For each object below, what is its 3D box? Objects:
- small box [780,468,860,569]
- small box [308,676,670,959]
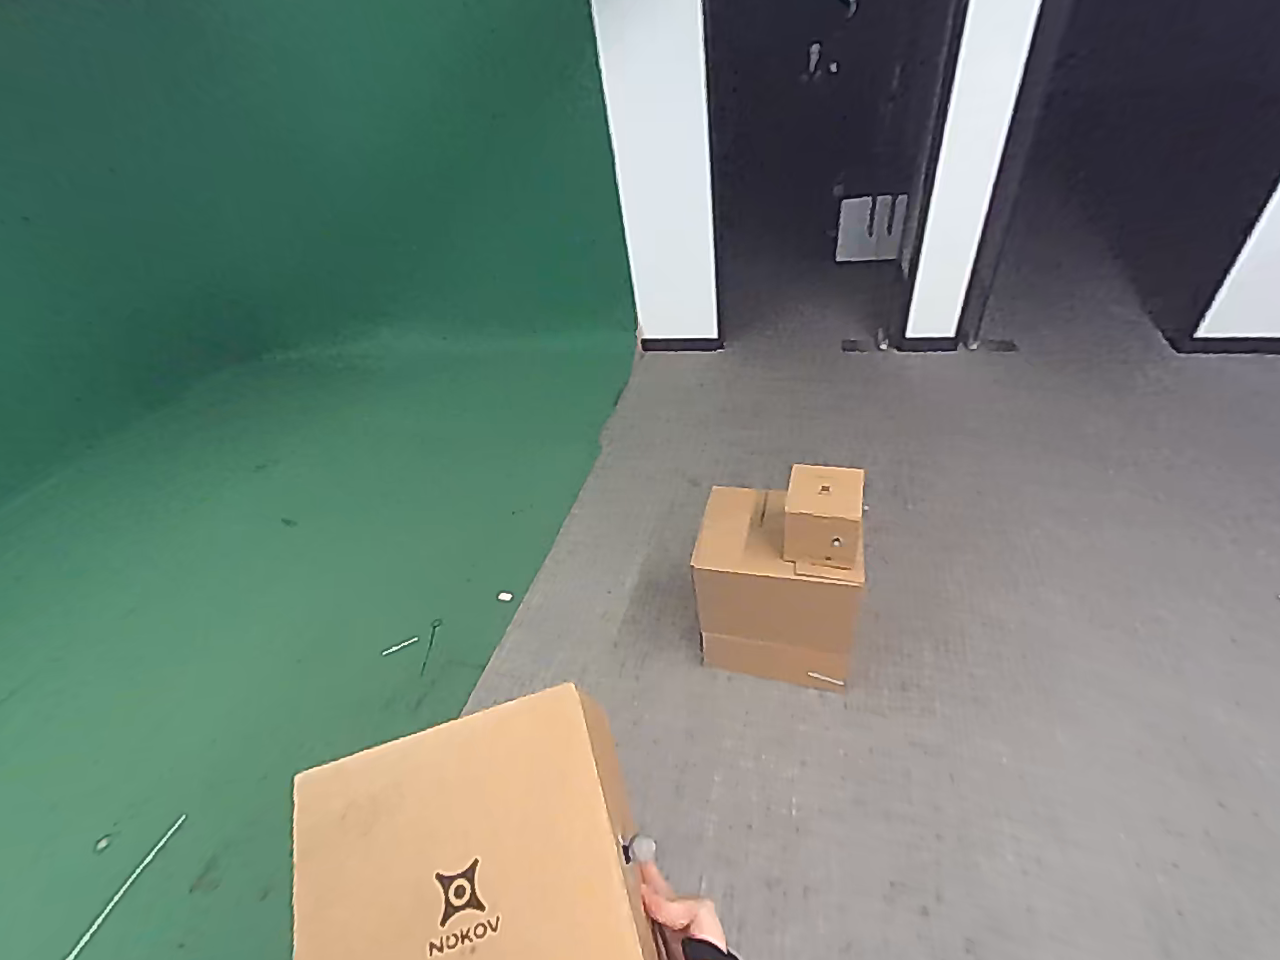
[{"bbox_3d":[0.435,0.093,1.306,0.168,0.176,0.179,6,41,20],"label":"small box"},{"bbox_3d":[-0.083,0.251,0.348,0.168,0.176,0.179,-17,62,-6],"label":"small box"}]
